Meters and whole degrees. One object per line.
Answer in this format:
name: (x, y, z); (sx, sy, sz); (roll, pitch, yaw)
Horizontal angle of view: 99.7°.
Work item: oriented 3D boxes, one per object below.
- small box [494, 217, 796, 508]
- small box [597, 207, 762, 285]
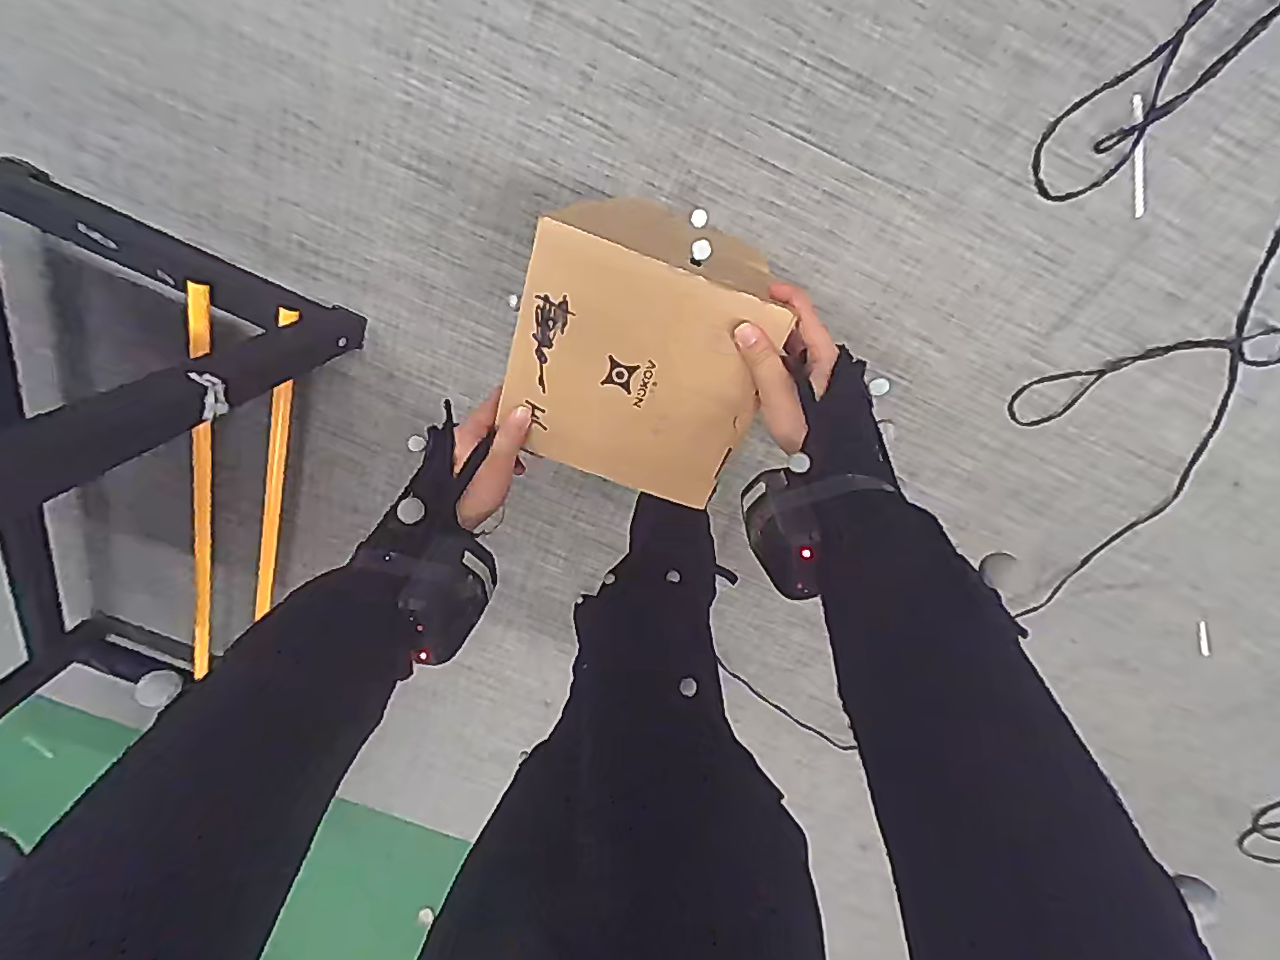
small box: (0.002, -0.108, 0.453); (0.179, 0.176, 0.168); (19, 117, -5)
small box: (0.020, -0.183, 0.598); (0.168, 0.176, 0.179); (19, 118, -4)
